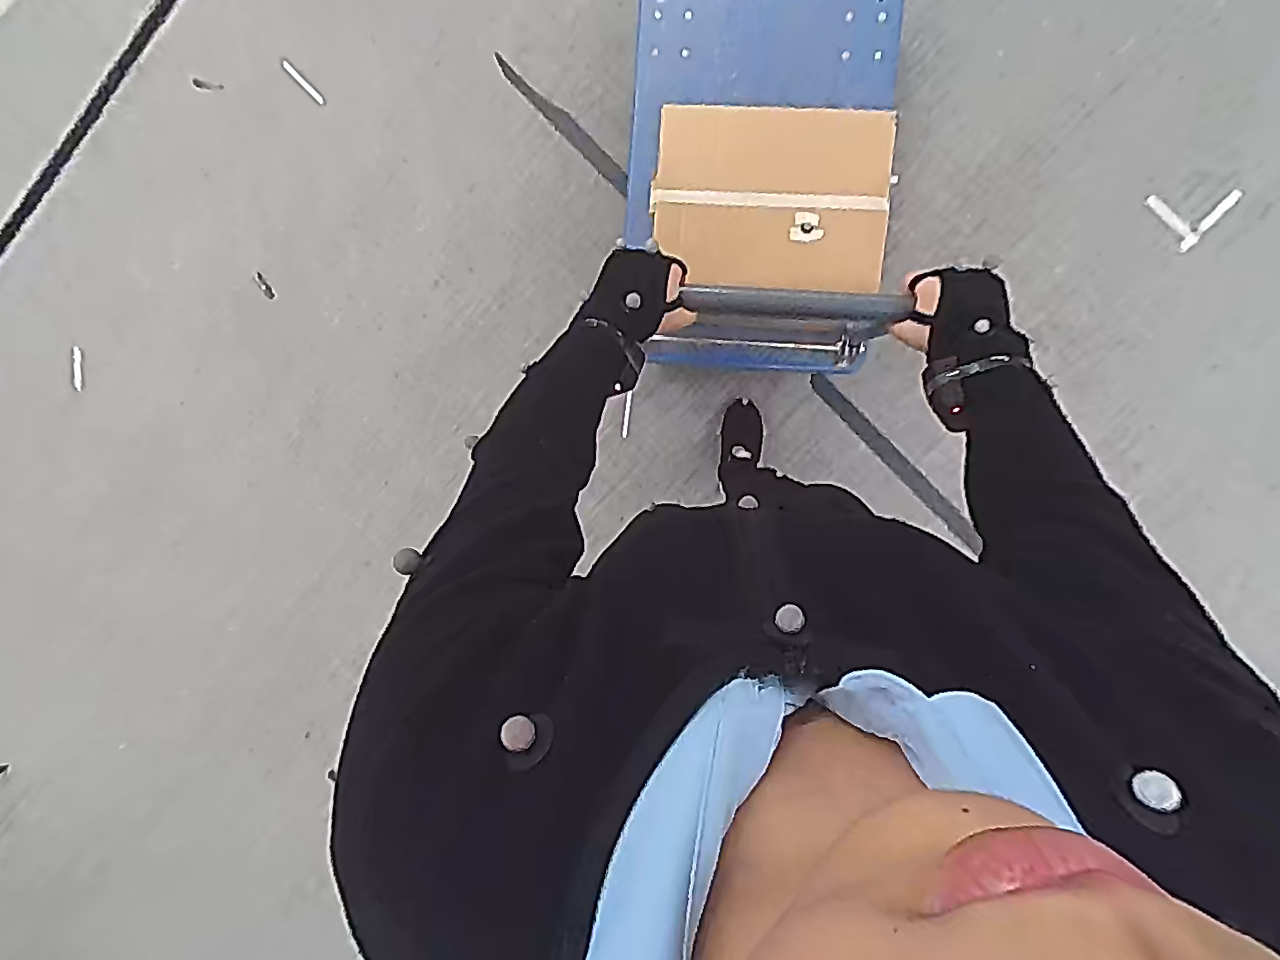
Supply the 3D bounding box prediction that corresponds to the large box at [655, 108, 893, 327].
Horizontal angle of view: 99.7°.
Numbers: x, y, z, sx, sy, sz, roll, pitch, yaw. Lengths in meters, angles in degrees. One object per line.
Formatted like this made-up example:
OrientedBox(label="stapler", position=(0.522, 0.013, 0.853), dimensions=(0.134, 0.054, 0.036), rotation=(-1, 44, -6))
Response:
OrientedBox(label="large box", position=(0.239, -0.504, 1.102), dimensions=(0.408, 0.320, 0.320), rotation=(4, 96, 3))
